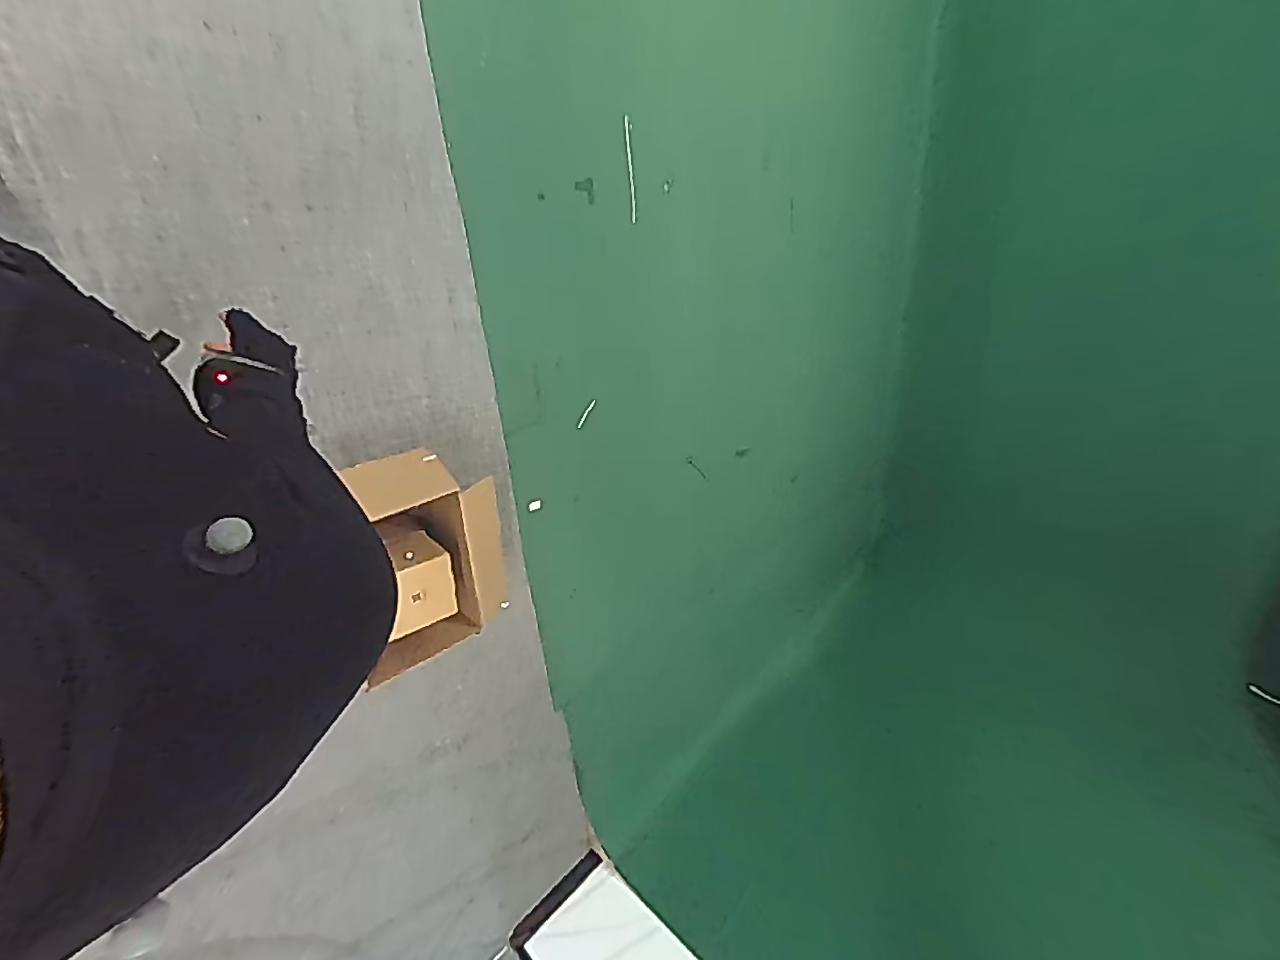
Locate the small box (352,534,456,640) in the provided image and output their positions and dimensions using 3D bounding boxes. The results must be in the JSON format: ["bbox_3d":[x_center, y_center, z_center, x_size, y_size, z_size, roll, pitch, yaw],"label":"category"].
[{"bbox_3d":[-0.574,0.251,1.307,0.179,0.176,0.168,-21,118,-41],"label":"small box"}]
